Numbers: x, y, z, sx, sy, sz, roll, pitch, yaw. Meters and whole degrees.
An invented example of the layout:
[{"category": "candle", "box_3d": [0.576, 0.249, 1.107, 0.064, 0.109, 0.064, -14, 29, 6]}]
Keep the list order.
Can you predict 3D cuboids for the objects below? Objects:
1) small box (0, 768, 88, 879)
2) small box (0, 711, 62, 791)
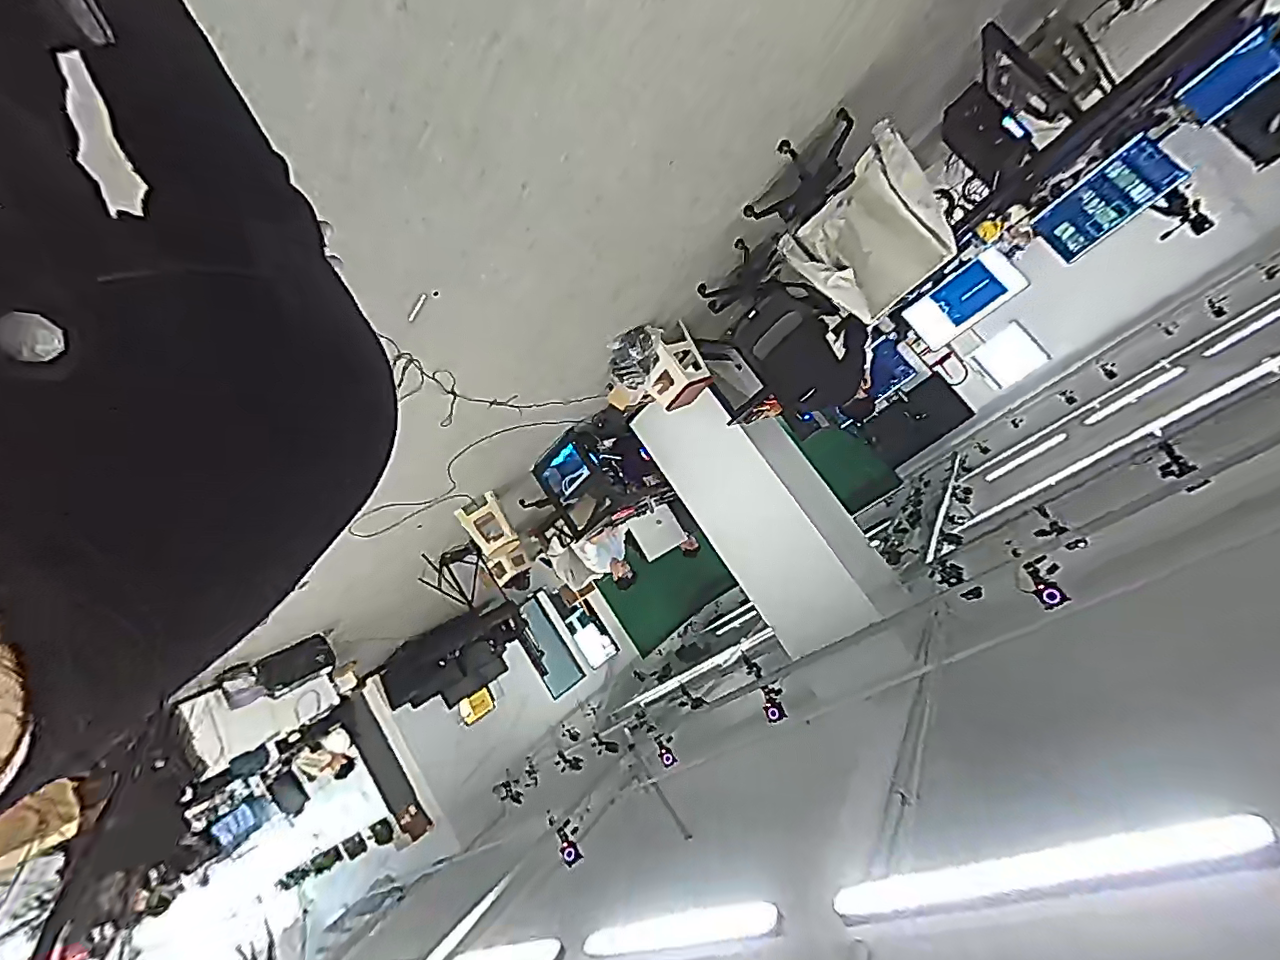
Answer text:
[{"category": "small box", "box_3d": [-1.520, 0.850, 1.335, 0.179, 0.176, 0.168, -40, 168, 29]}, {"category": "small box", "box_3d": [-1.612, 0.718, 1.364, 0.179, 0.176, 0.168, -42, 167, 30]}]
